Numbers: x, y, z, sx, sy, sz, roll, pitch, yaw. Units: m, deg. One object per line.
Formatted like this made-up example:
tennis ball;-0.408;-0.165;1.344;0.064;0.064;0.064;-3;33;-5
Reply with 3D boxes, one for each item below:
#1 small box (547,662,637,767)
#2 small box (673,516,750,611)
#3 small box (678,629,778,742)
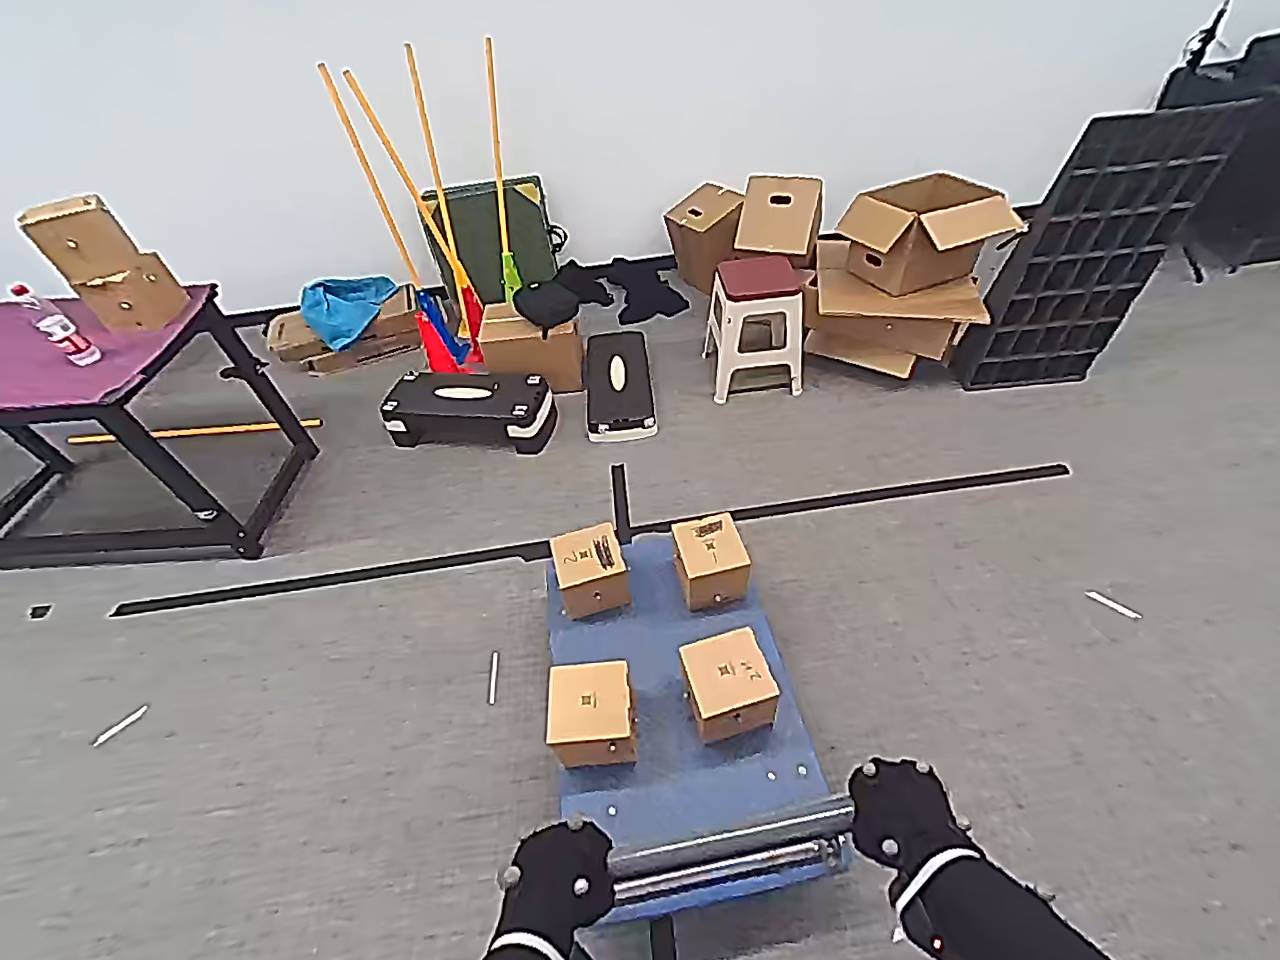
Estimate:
small box;-0.103;0.533;1.221;0.179;0.176;0.168;-5;47;0
small box;0.188;0.227;1.470;0.168;0.176;0.179;-12;48;-5
small box;0.198;0.475;1.238;0.179;0.176;0.168;-15;48;-6
